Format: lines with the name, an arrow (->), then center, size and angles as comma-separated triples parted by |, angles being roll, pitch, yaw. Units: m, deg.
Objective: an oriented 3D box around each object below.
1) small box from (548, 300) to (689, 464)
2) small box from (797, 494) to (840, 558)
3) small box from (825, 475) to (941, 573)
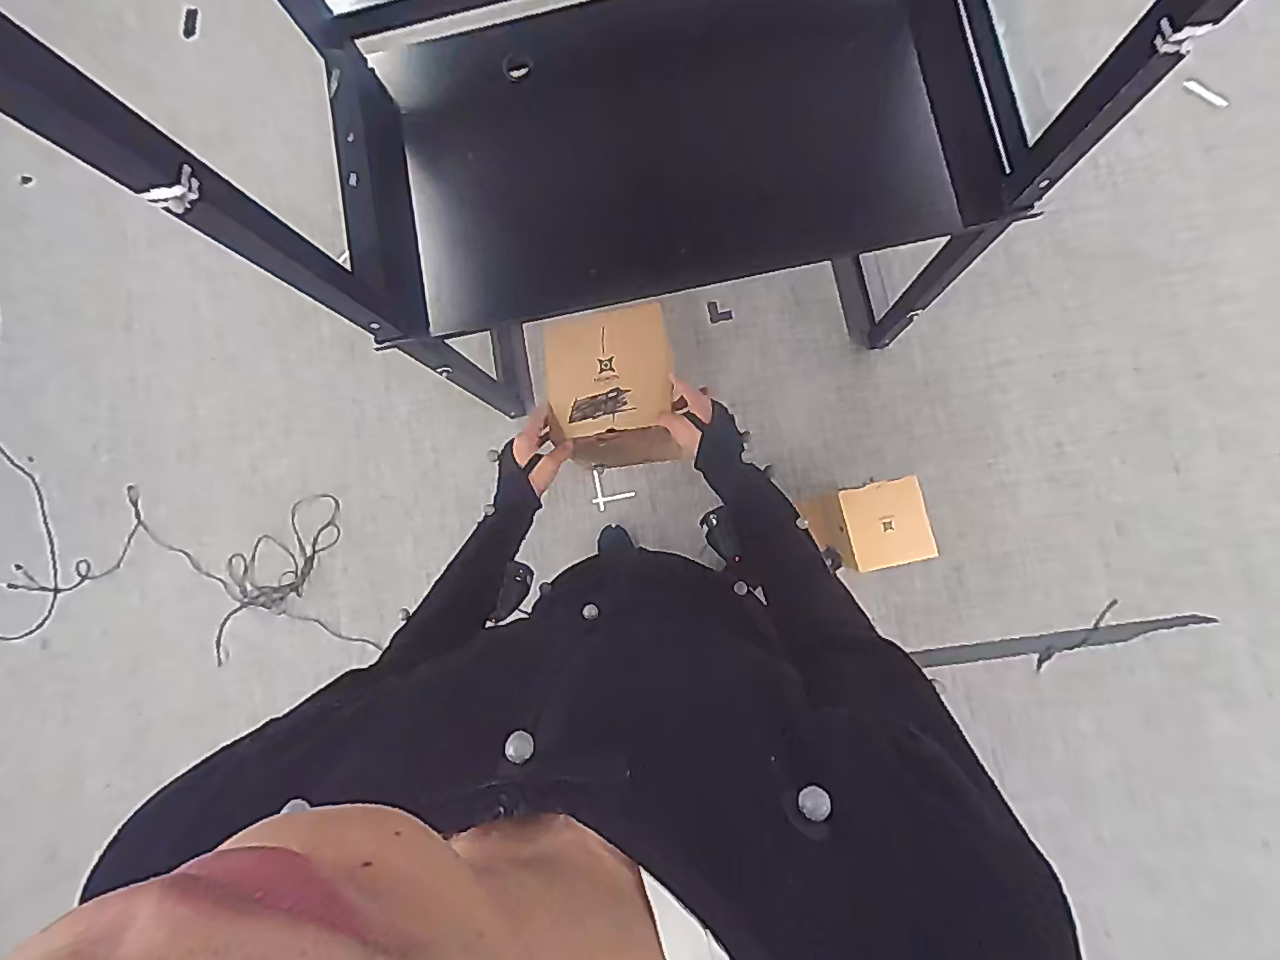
small box -> -0.025, -0.127, 0.781 | 0.168, 0.176, 0.179 | -7, 76, 9
small box -> 0.556, 0.120, 1.517 | 0.179, 0.176, 0.168 | -12, 83, 5
small box -> 0.526, 0.095, 1.192 | 0.168, 0.176, 0.179 | -14, 83, 5
